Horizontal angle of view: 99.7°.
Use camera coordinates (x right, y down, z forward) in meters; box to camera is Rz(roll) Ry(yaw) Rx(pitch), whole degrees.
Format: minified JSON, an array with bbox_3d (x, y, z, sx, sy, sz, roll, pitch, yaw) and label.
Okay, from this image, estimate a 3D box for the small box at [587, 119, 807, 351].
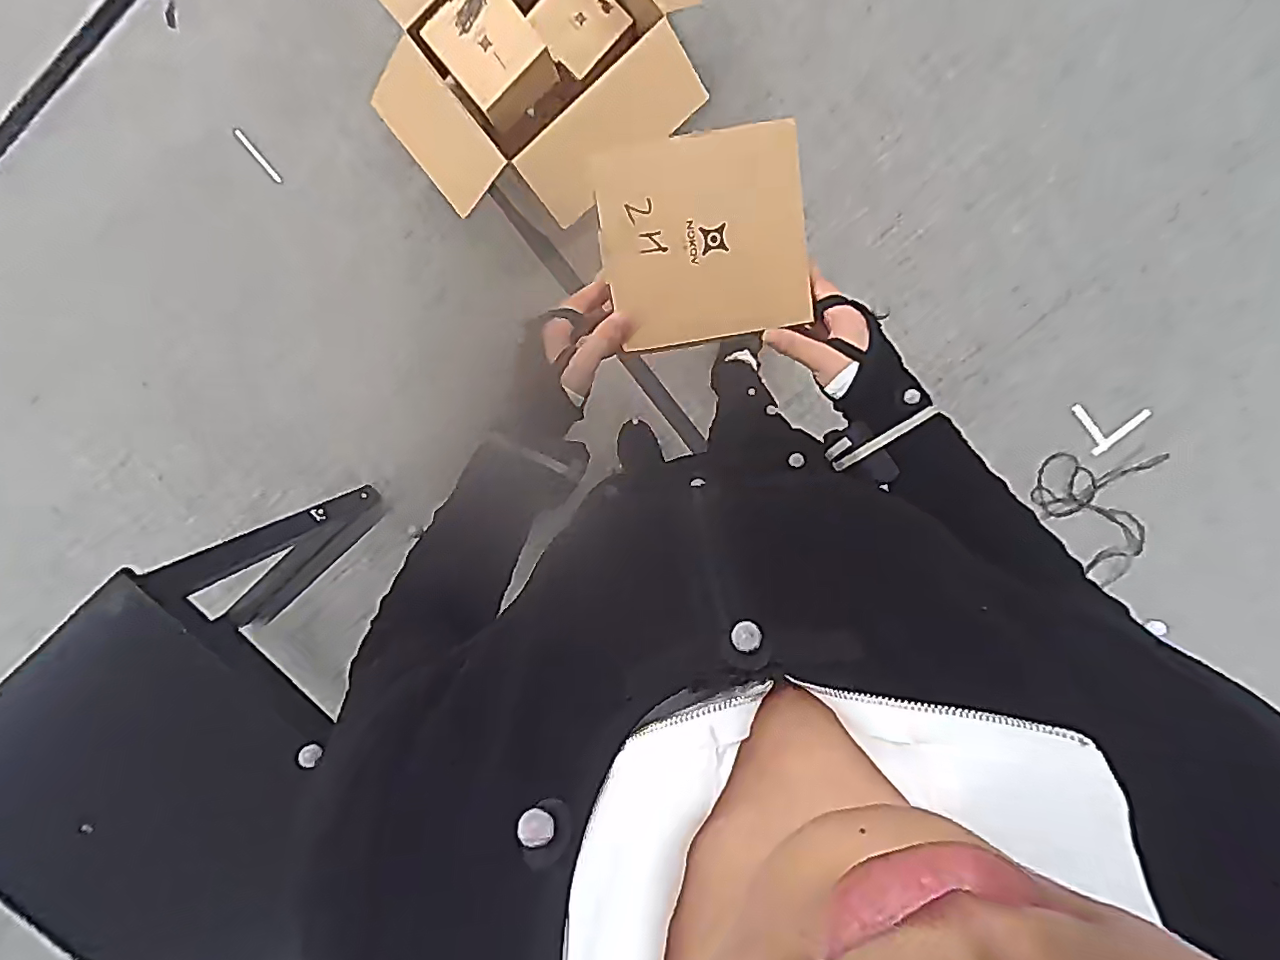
[{"bbox_3d":[0.051,-0.226,0.545,0.179,0.176,0.168,-9,101,2],"label":"small box"}]
